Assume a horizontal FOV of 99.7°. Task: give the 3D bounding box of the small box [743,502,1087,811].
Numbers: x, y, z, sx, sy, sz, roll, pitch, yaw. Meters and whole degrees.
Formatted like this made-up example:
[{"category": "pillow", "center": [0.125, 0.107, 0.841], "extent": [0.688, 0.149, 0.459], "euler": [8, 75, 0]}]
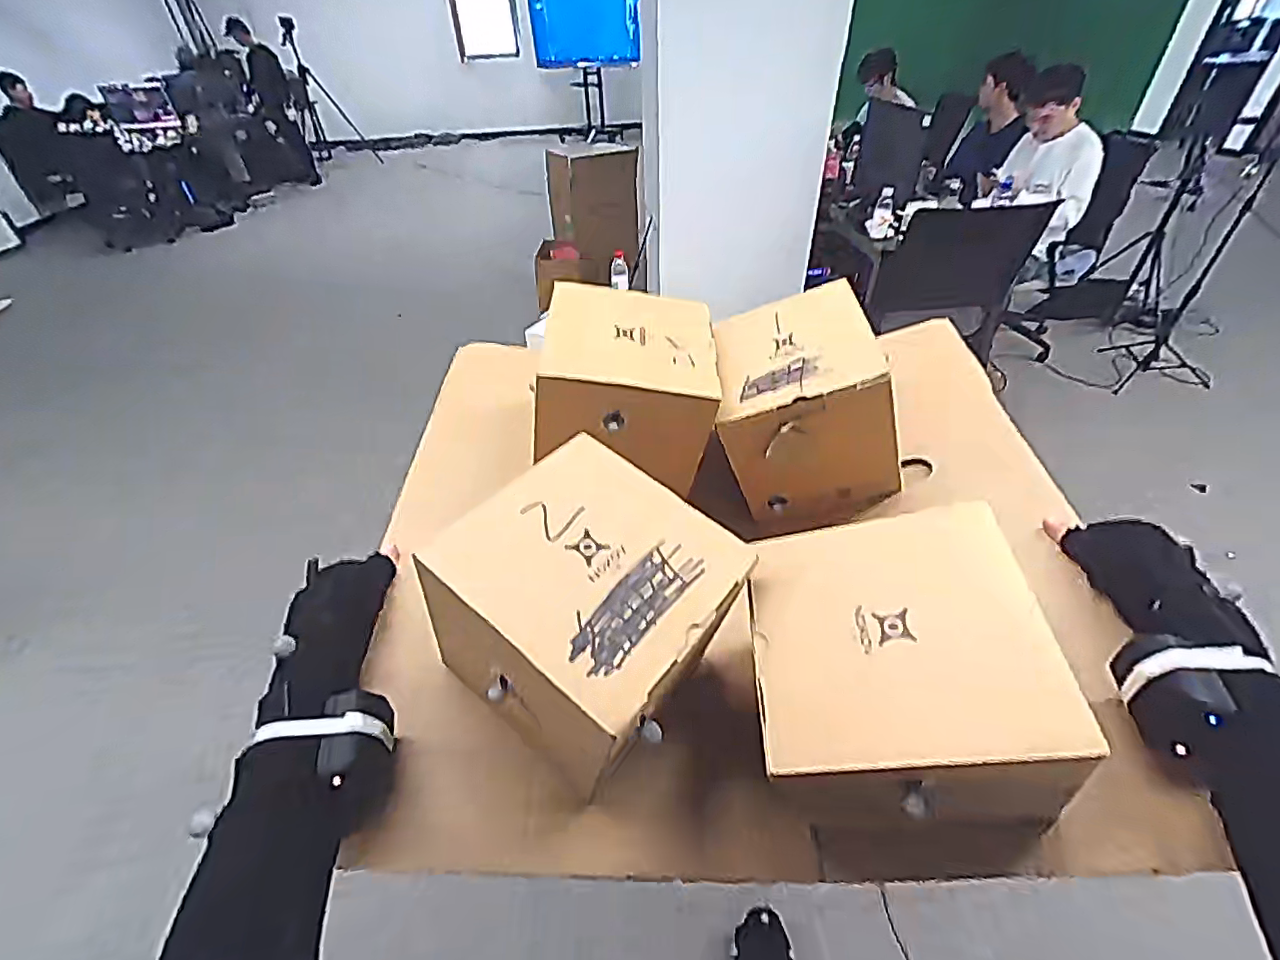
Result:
[{"category": "small box", "center": [0.191, 0.144, 0.416], "extent": [0.179, 0.176, 0.168], "euler": [-15, 47, 20]}]
